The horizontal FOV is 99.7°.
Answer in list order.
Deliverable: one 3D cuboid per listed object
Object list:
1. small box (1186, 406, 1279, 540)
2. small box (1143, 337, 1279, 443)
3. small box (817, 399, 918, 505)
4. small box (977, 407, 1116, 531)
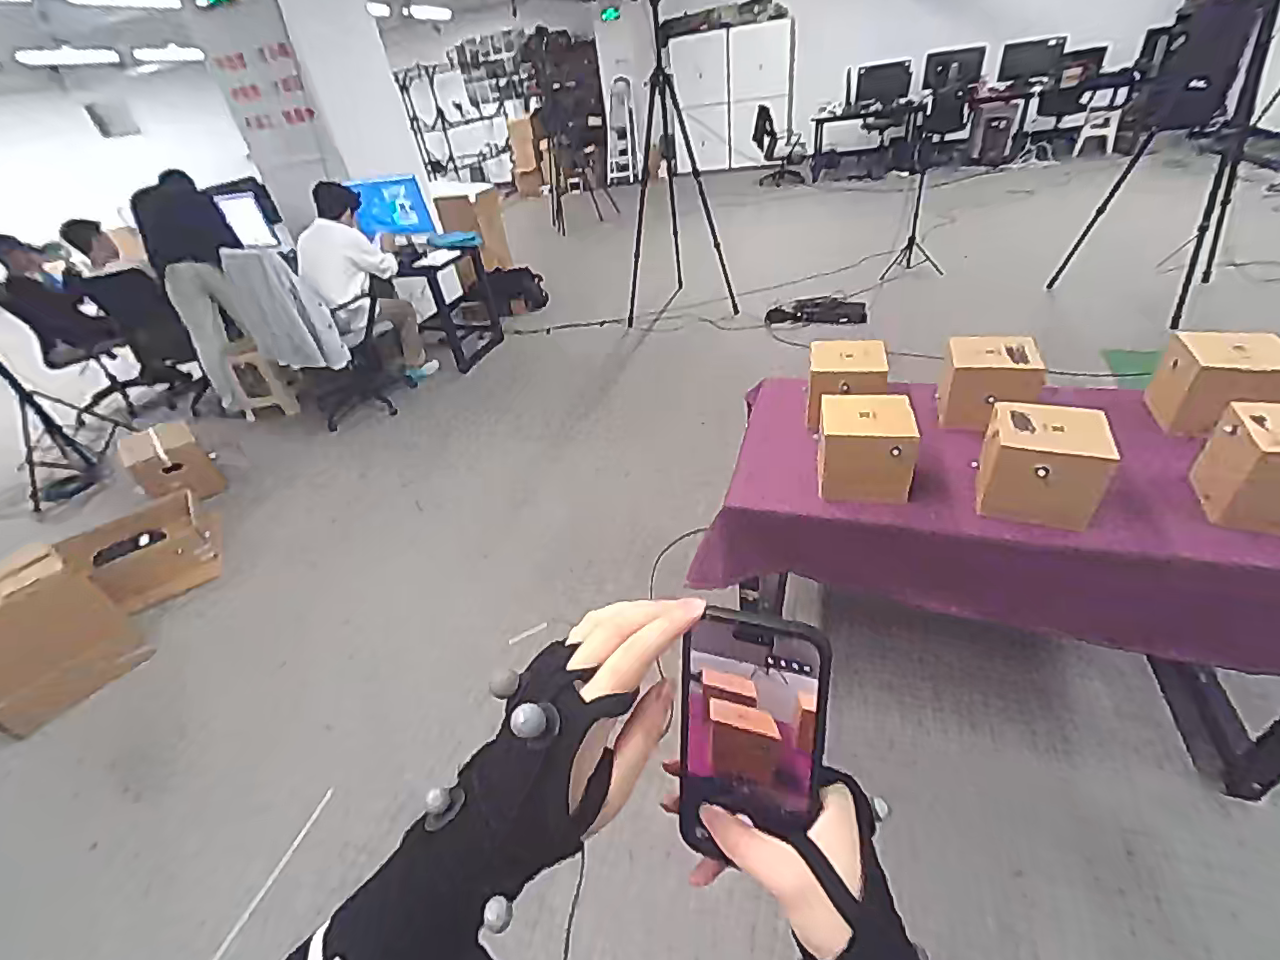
[{"bbox_3d":[1.121,-0.007,0.942,0.179,0.176,0.168,11,40,25],"label":"small box"},{"bbox_3d":[1.238,-0.193,1.166,0.168,0.176,0.179,8,40,23],"label":"small box"},{"bbox_3d":[0.475,-0.061,1.156,0.179,0.176,0.168,3,38,14],"label":"small box"},{"bbox_3d":[0.764,-0.022,1.041,0.179,0.176,0.168,11,41,24],"label":"small box"}]
